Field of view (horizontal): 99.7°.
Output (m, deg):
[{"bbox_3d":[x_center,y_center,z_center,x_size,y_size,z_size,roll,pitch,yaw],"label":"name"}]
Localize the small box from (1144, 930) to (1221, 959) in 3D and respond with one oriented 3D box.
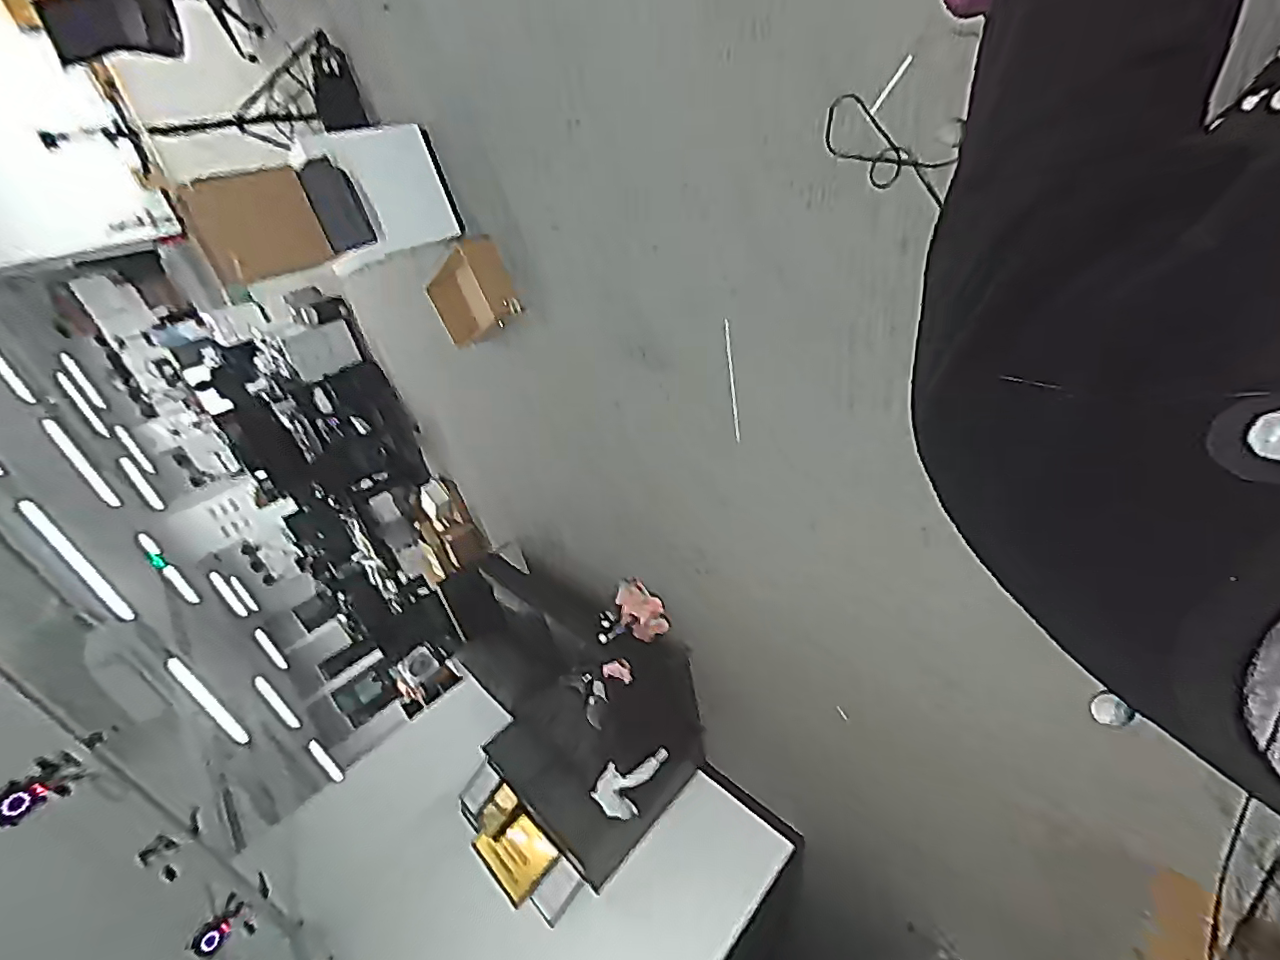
[{"bbox_3d":[1.559,1.437,1.535,0.179,0.176,0.168,17,130,43],"label":"small box"}]
